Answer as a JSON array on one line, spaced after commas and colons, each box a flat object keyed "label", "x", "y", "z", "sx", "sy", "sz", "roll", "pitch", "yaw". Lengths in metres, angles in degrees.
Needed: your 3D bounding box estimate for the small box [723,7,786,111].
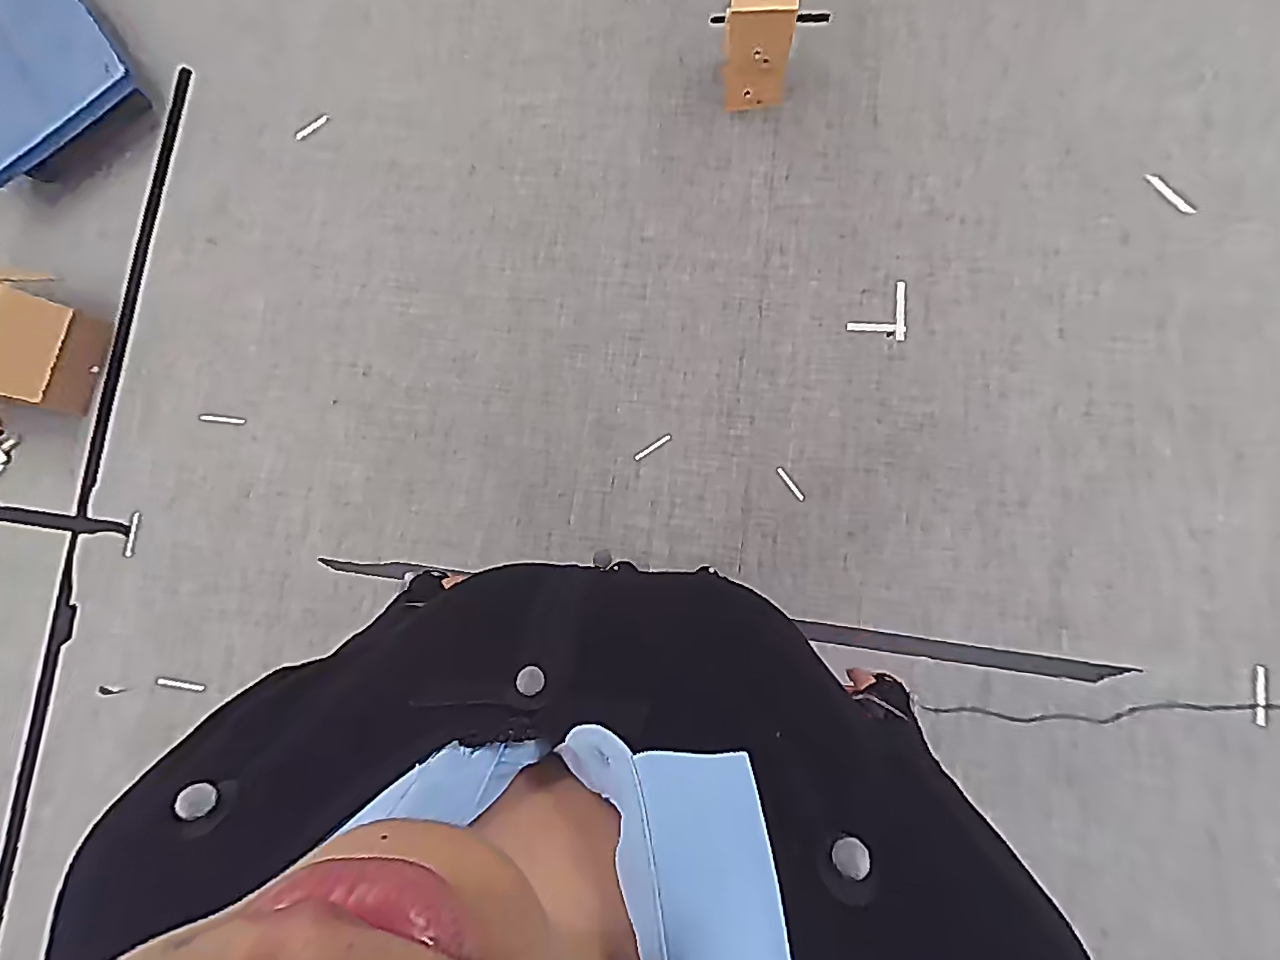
[{"label": "small box", "x": 0.330, "y": -1.226, "z": 1.584, "sx": 0.168, "sy": 0.176, "sz": 0.179, "roll": 0, "pitch": 83, "yaw": 6}]
